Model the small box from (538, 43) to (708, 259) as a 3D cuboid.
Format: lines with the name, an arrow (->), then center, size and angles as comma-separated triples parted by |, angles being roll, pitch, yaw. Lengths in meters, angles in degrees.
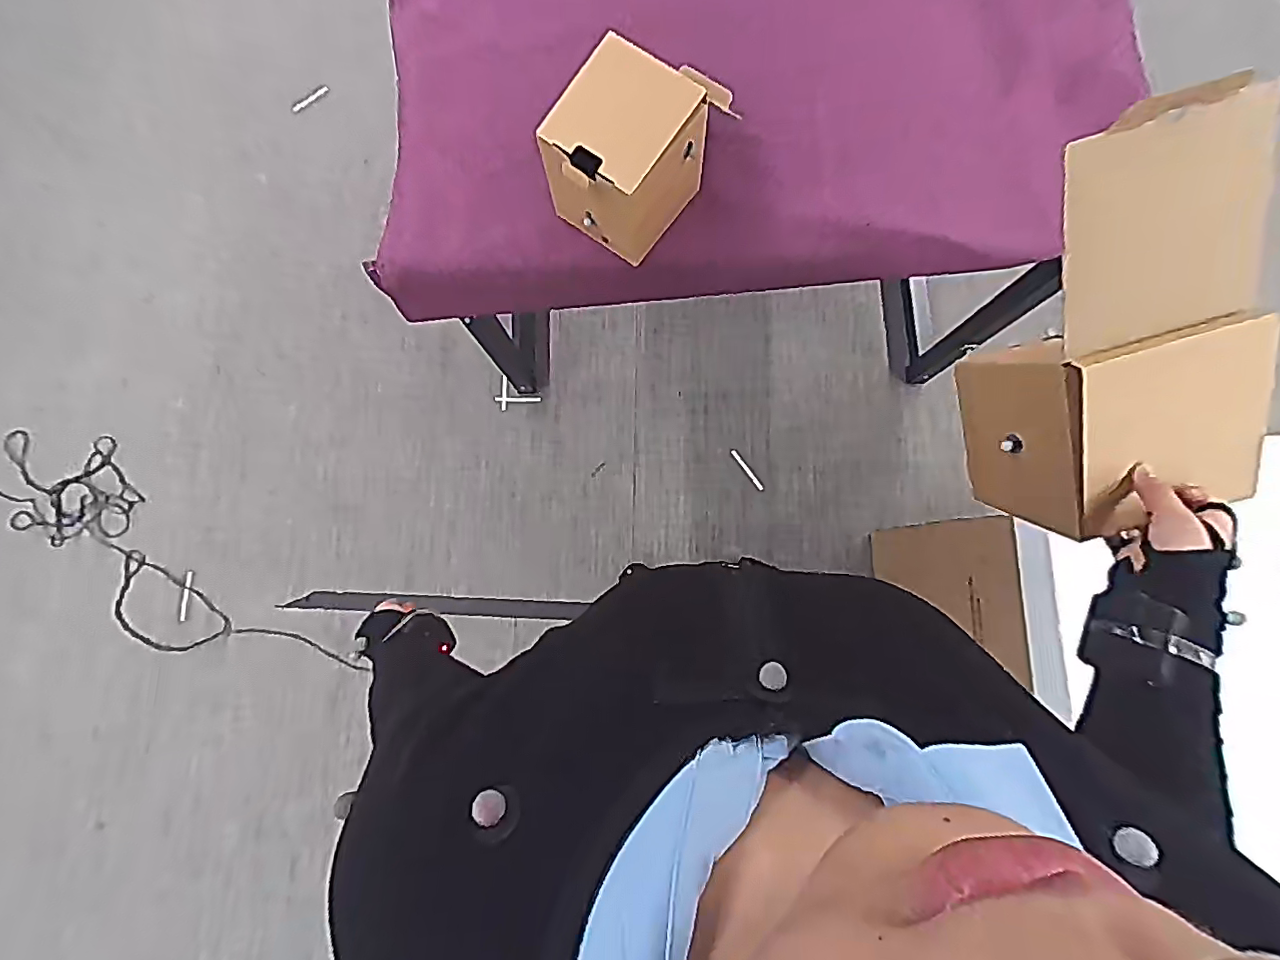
small box -> -0.022, -0.473, 0.801 | 0.168, 0.176, 0.179 | 36, 83, 8
